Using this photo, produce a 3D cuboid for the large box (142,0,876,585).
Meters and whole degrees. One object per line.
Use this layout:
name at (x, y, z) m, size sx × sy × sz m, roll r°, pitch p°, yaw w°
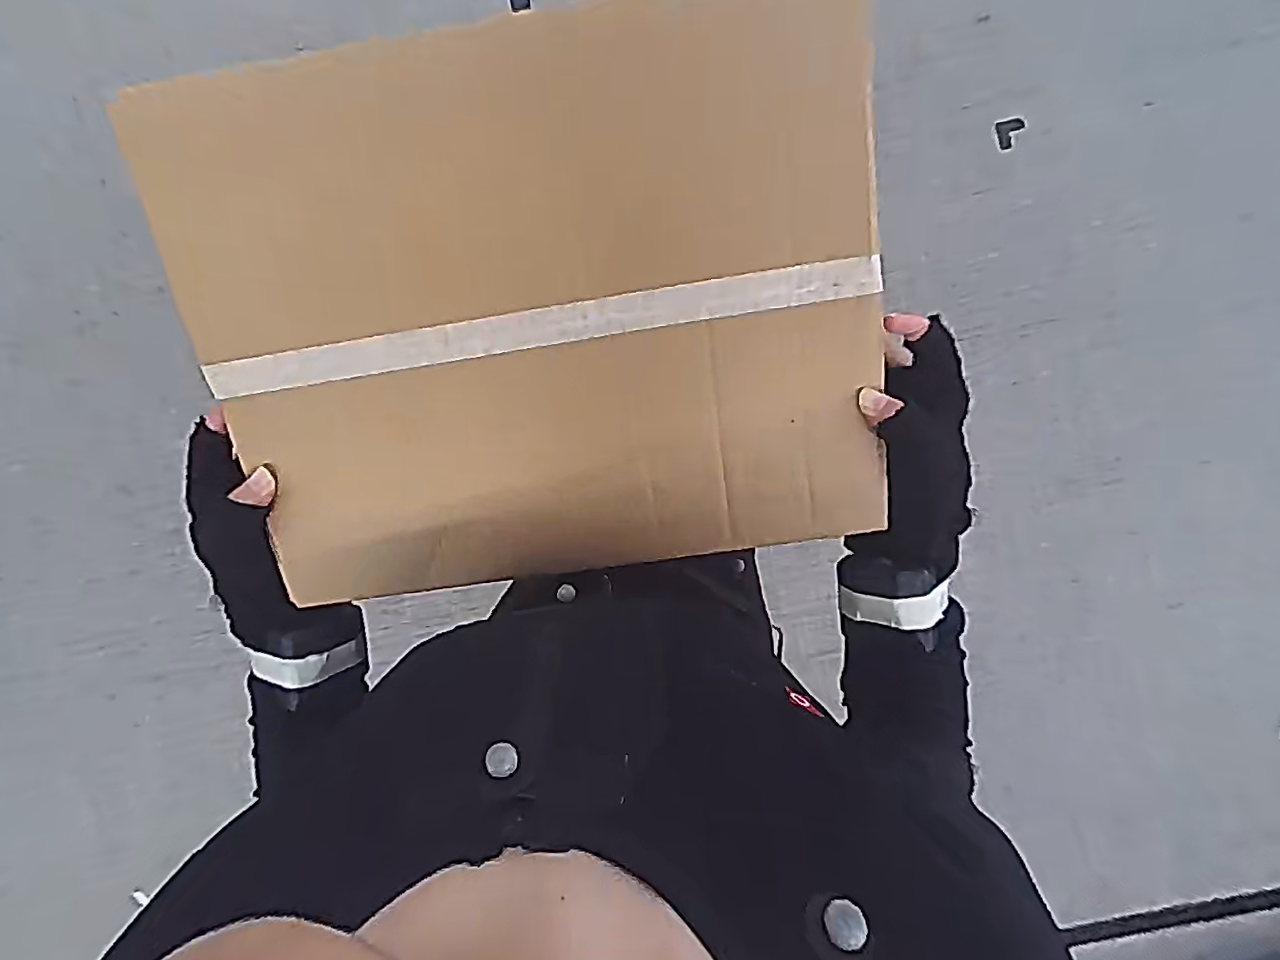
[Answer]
large box at (-0.062, -0.140, 0.473) m, size 0.408 × 0.320 × 0.320 m, roll -8°, pitch 107°, yaw 3°
